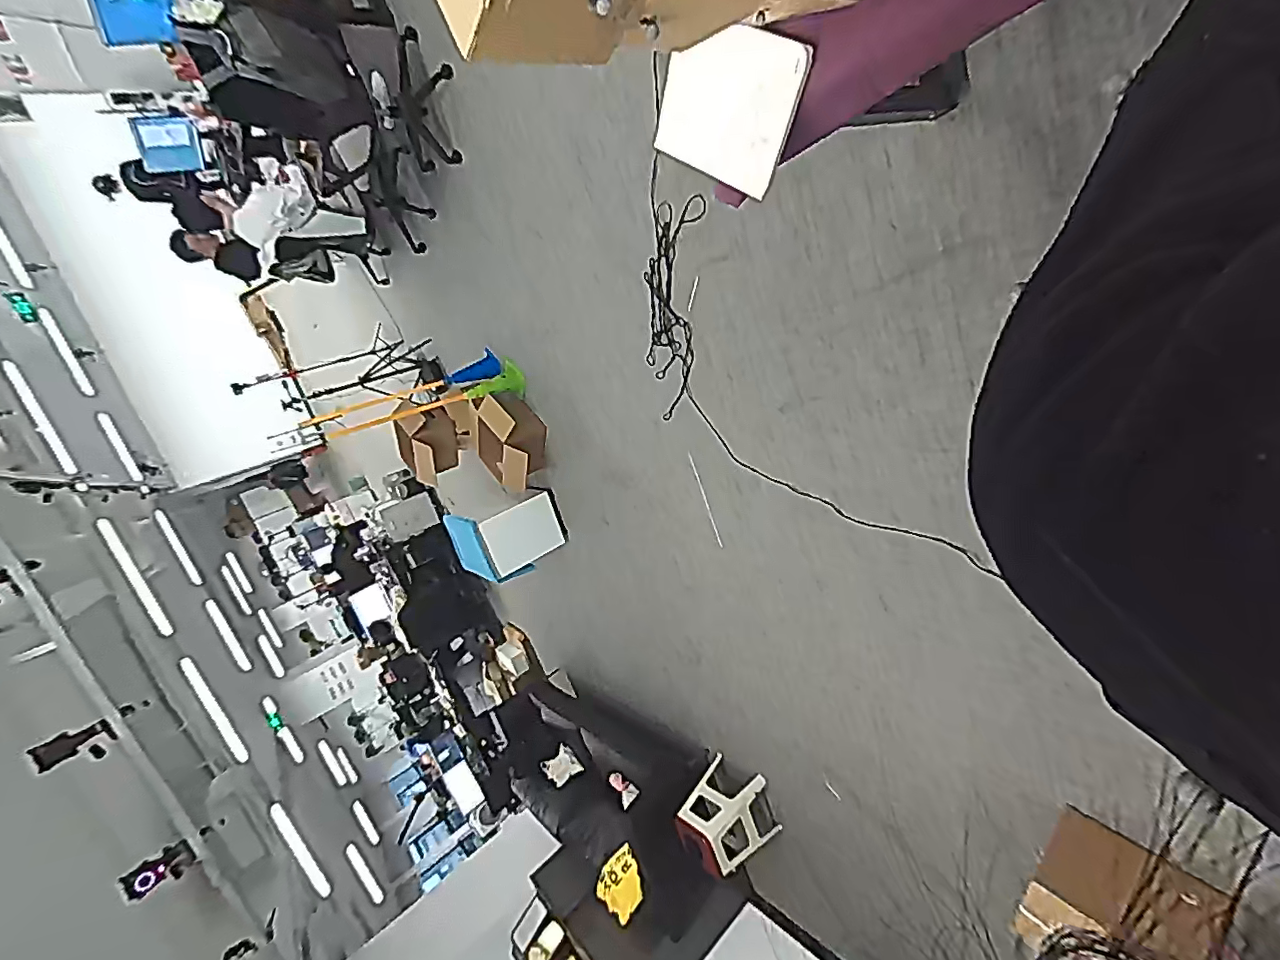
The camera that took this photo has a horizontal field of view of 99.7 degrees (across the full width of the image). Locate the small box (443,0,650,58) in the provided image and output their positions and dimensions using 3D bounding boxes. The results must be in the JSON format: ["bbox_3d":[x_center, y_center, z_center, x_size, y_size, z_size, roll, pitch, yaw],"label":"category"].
[{"bbox_3d":[-0.086,-0.511,0.473,0.168,0.176,0.179,-14,101,58],"label":"small box"}]
